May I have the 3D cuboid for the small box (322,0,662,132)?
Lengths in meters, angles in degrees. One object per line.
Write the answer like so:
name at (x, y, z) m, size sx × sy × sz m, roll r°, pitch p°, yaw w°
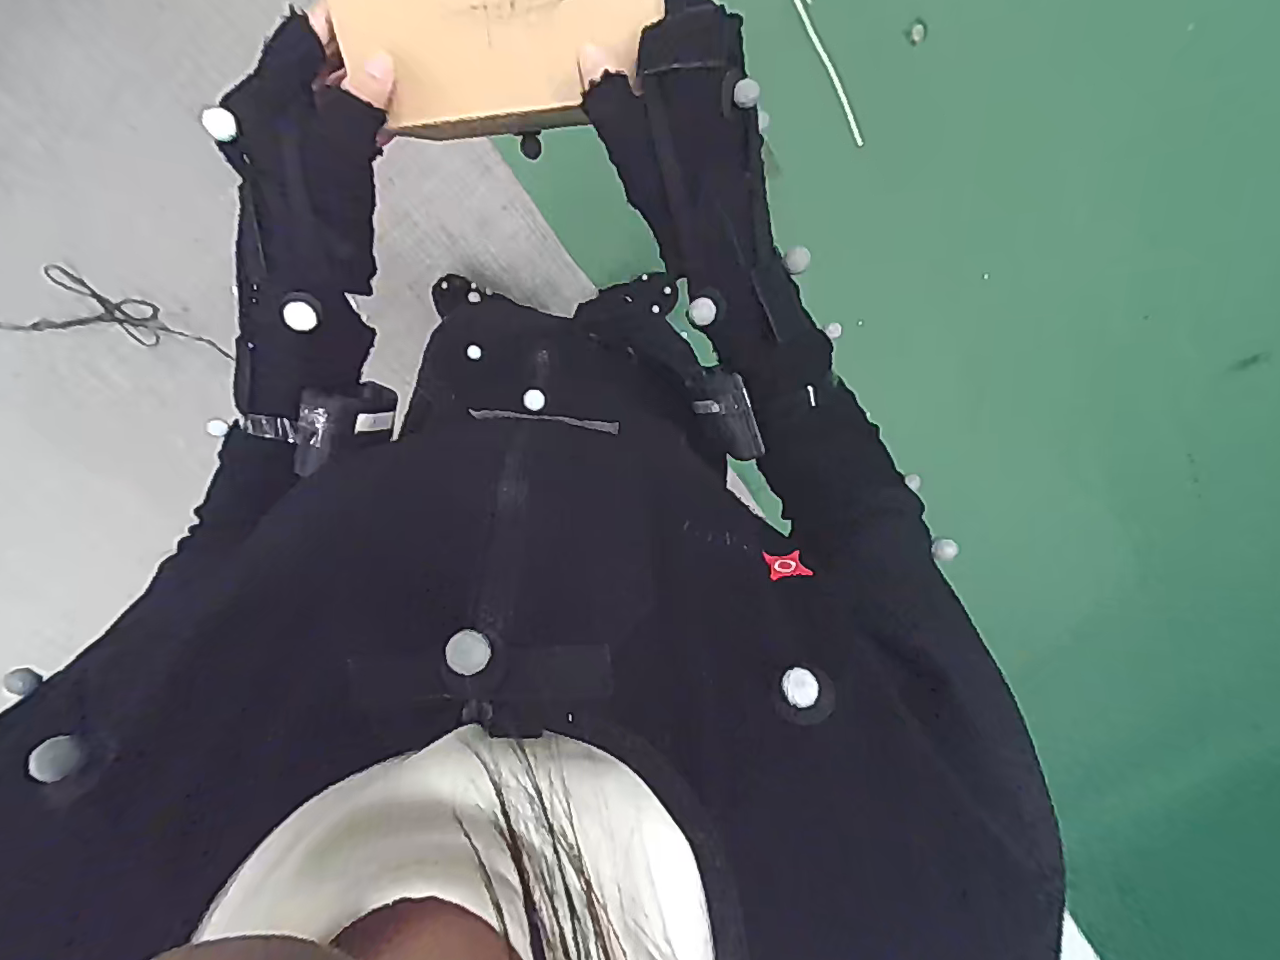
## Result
small box at (-0.081, -0.316, 0.312) m, size 0.168 × 0.176 × 0.179 m, roll -7°, pitch 122°, yaw 2°
